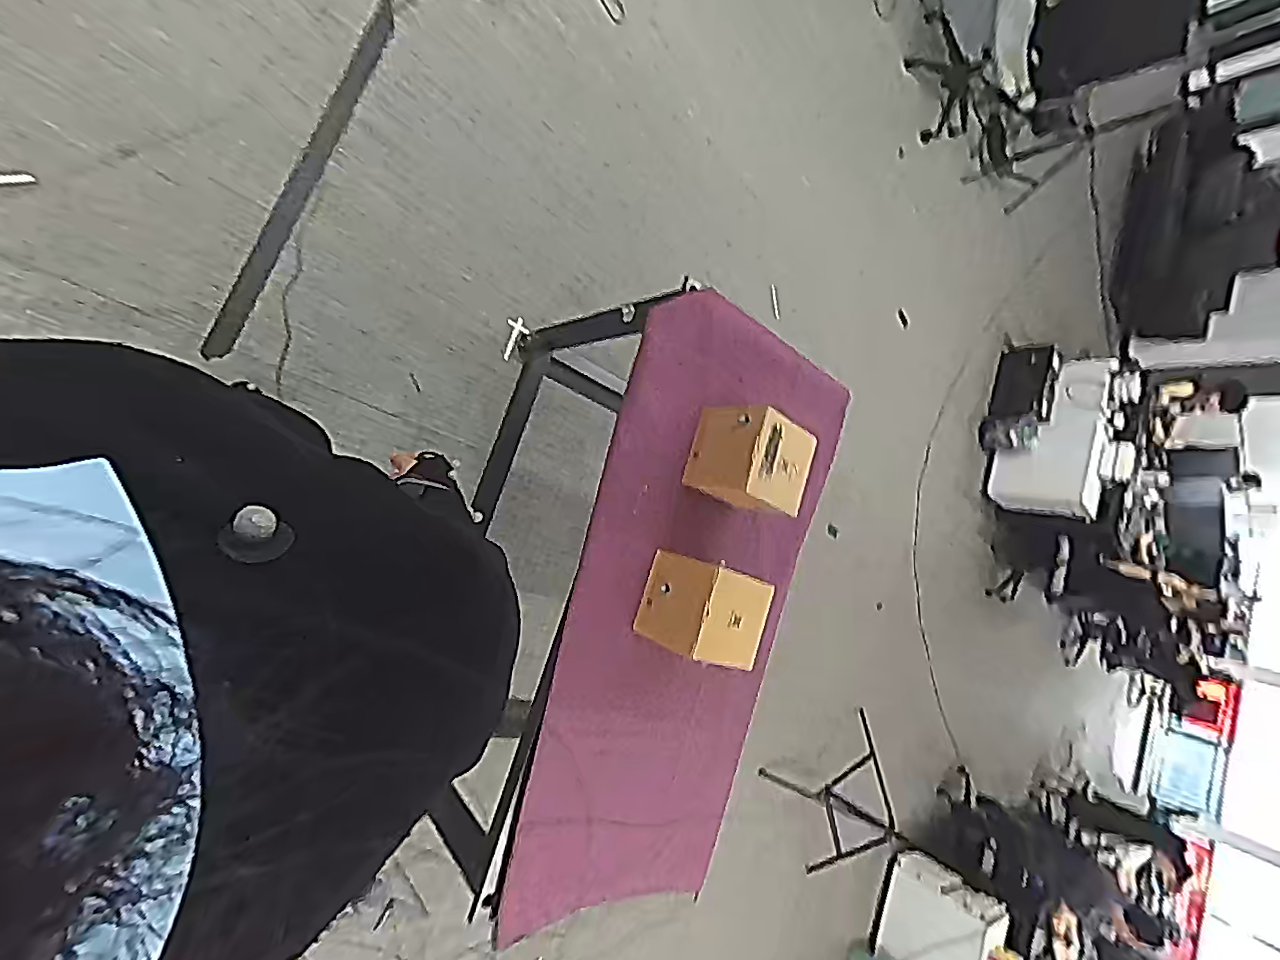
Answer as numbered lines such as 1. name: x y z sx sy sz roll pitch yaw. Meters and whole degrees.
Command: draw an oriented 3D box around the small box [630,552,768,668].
1. small box: 0.114 0.248 1.050 0.179 0.176 0.168 24 80 -38
